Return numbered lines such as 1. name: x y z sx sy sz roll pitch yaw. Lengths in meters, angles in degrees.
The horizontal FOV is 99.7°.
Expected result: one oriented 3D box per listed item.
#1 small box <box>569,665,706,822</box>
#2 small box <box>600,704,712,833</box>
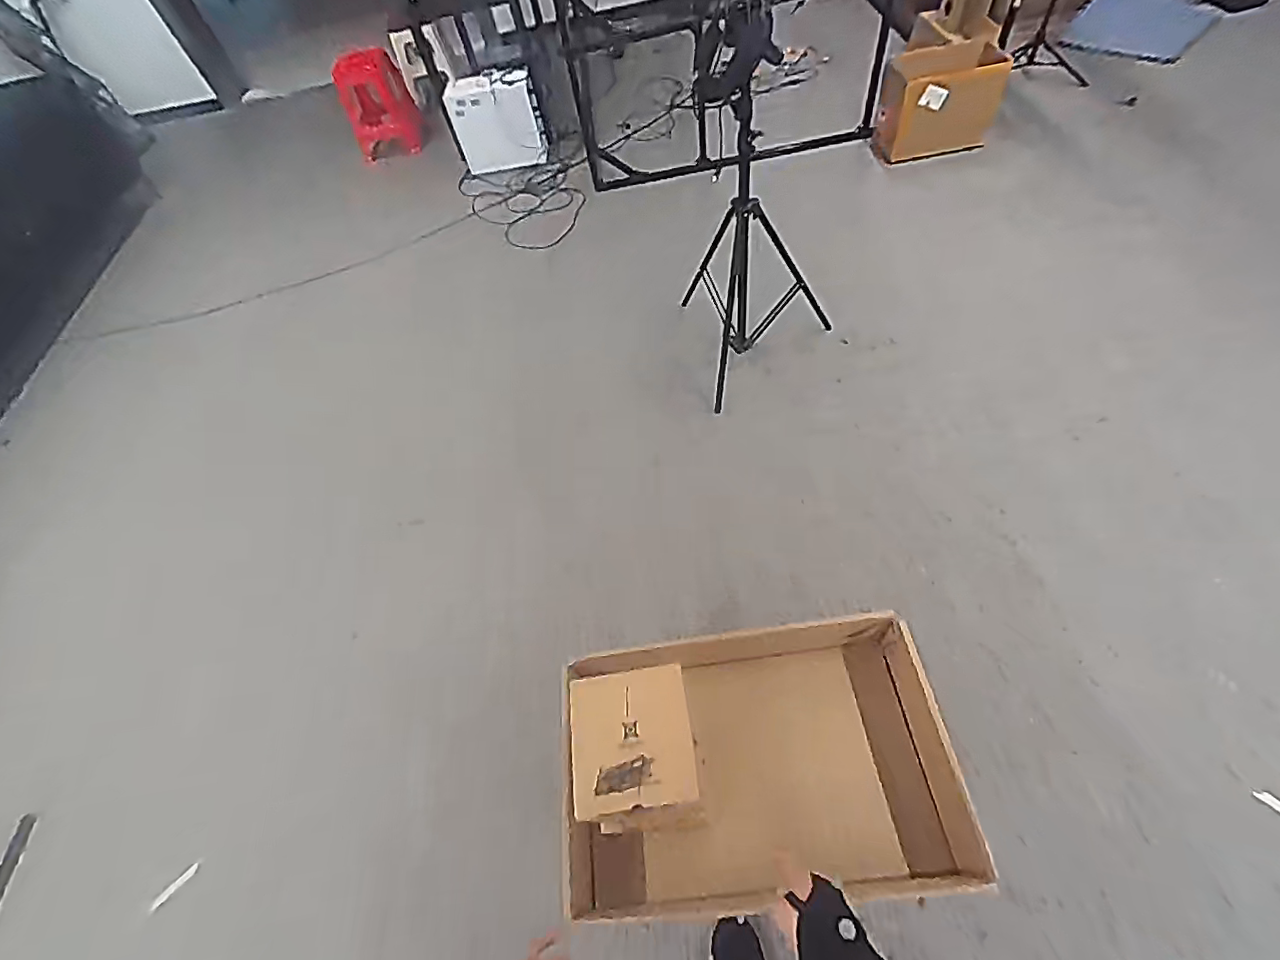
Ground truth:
1. small box: -0.001 0.390 0.793 0.168 0.176 0.179 -10 56 5
2. small box: 0.025 0.490 0.921 0.168 0.176 0.179 -11 56 5
